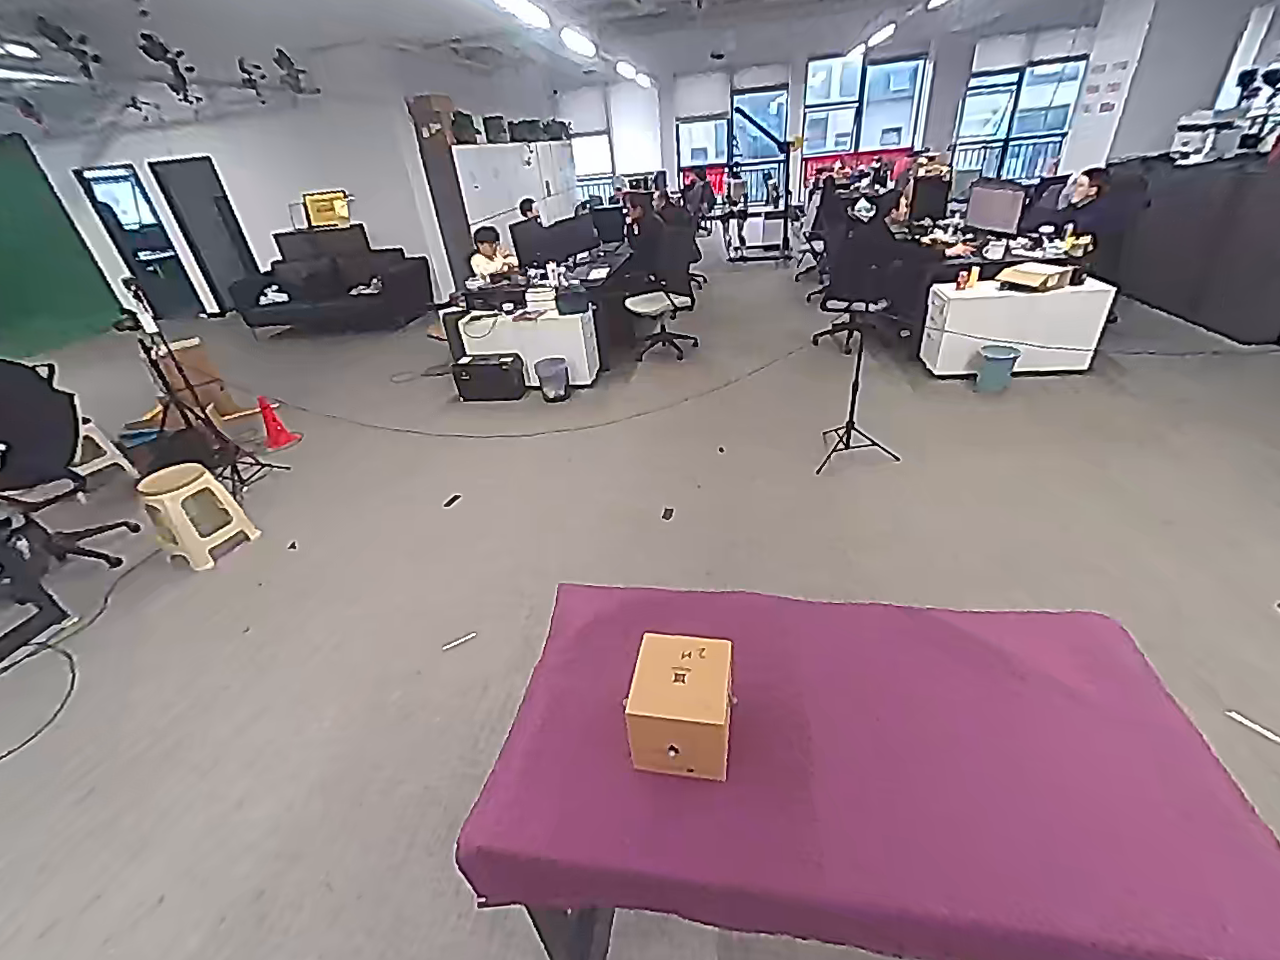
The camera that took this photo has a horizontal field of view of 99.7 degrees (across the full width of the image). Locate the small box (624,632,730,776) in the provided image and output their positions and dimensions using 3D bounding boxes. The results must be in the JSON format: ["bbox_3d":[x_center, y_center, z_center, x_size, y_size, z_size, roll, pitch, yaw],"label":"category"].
[{"bbox_3d":[0.076,0.408,0.990,0.168,0.176,0.179,2,33,12],"label":"small box"}]
